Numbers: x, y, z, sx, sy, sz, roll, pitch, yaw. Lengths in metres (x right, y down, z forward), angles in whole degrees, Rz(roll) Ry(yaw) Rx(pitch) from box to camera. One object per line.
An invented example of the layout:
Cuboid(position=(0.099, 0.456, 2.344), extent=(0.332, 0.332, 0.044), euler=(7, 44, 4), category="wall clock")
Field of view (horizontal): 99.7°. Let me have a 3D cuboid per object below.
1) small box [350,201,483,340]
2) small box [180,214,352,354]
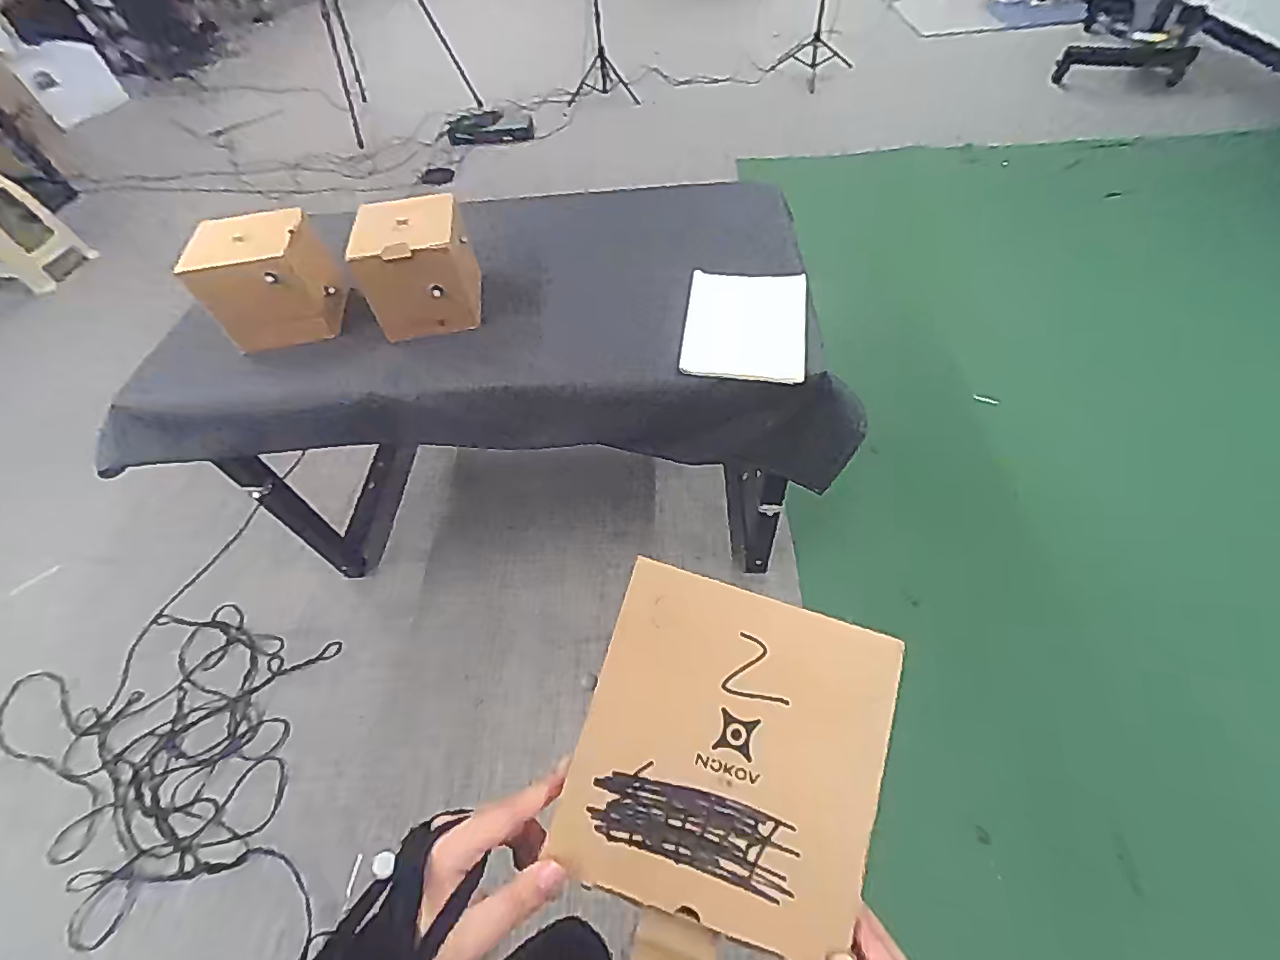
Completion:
Cuboid(position=(-0.385, -0.366, 0.966), extent=(0.168, 0.176, 0.179), euler=(-9, 52, -4), category="small box")
Cuboid(position=(-0.656, -0.348, 0.974), extent=(0.179, 0.176, 0.168), euler=(-11, 53, -4), category="small box")
